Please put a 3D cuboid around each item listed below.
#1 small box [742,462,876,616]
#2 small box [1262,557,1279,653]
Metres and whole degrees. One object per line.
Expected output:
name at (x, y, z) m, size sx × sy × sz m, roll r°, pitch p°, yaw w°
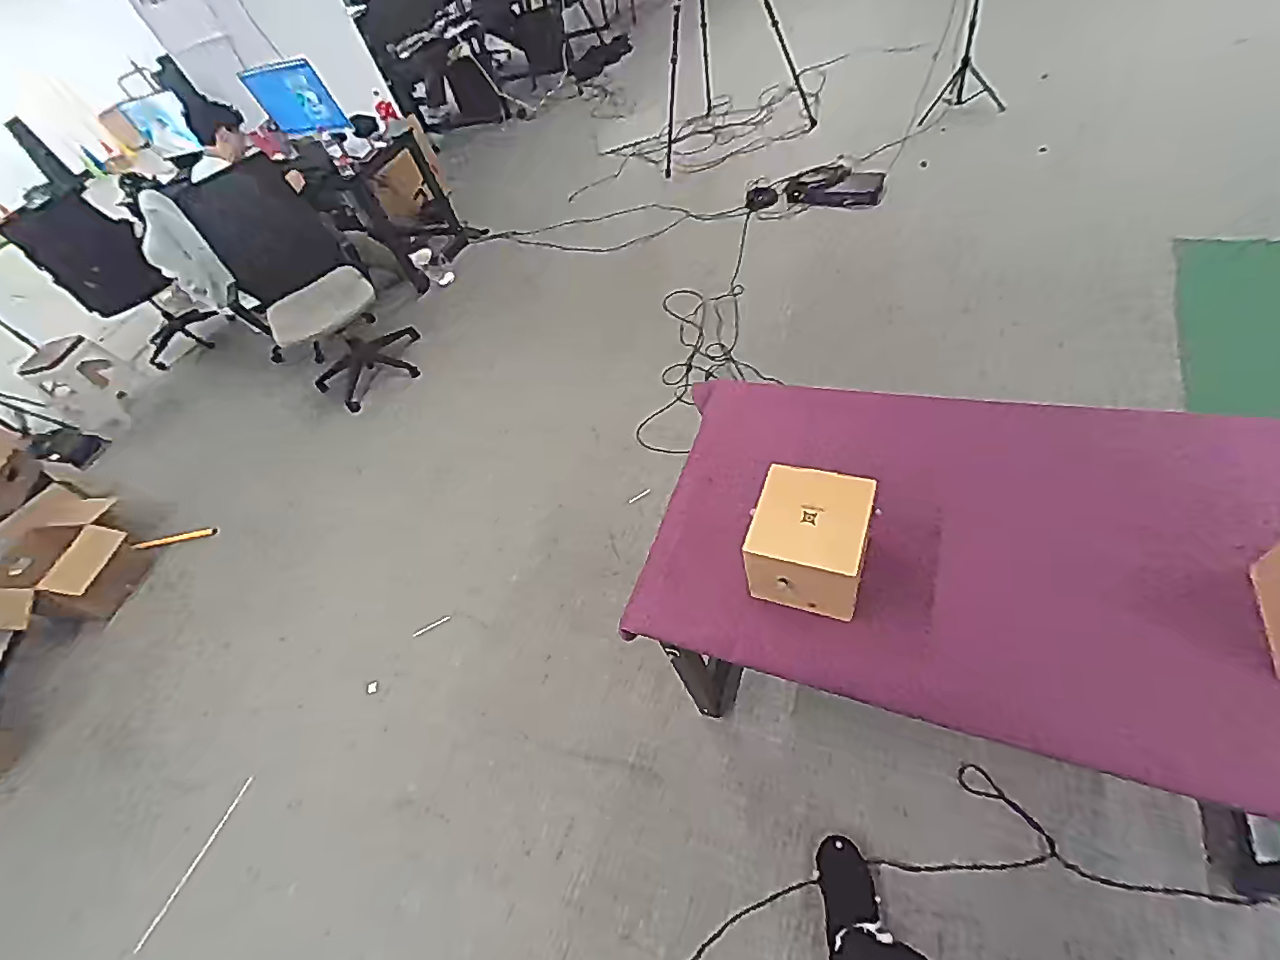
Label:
small box at (0.279, 0.098, 0.880) m, size 0.168 × 0.176 × 0.179 m, roll 11°, pitch 57°, yaw 25°
small box at (0.900, 0.154, 0.633) m, size 0.168 × 0.176 × 0.179 m, roll 8°, pitch 55°, yaw 25°
